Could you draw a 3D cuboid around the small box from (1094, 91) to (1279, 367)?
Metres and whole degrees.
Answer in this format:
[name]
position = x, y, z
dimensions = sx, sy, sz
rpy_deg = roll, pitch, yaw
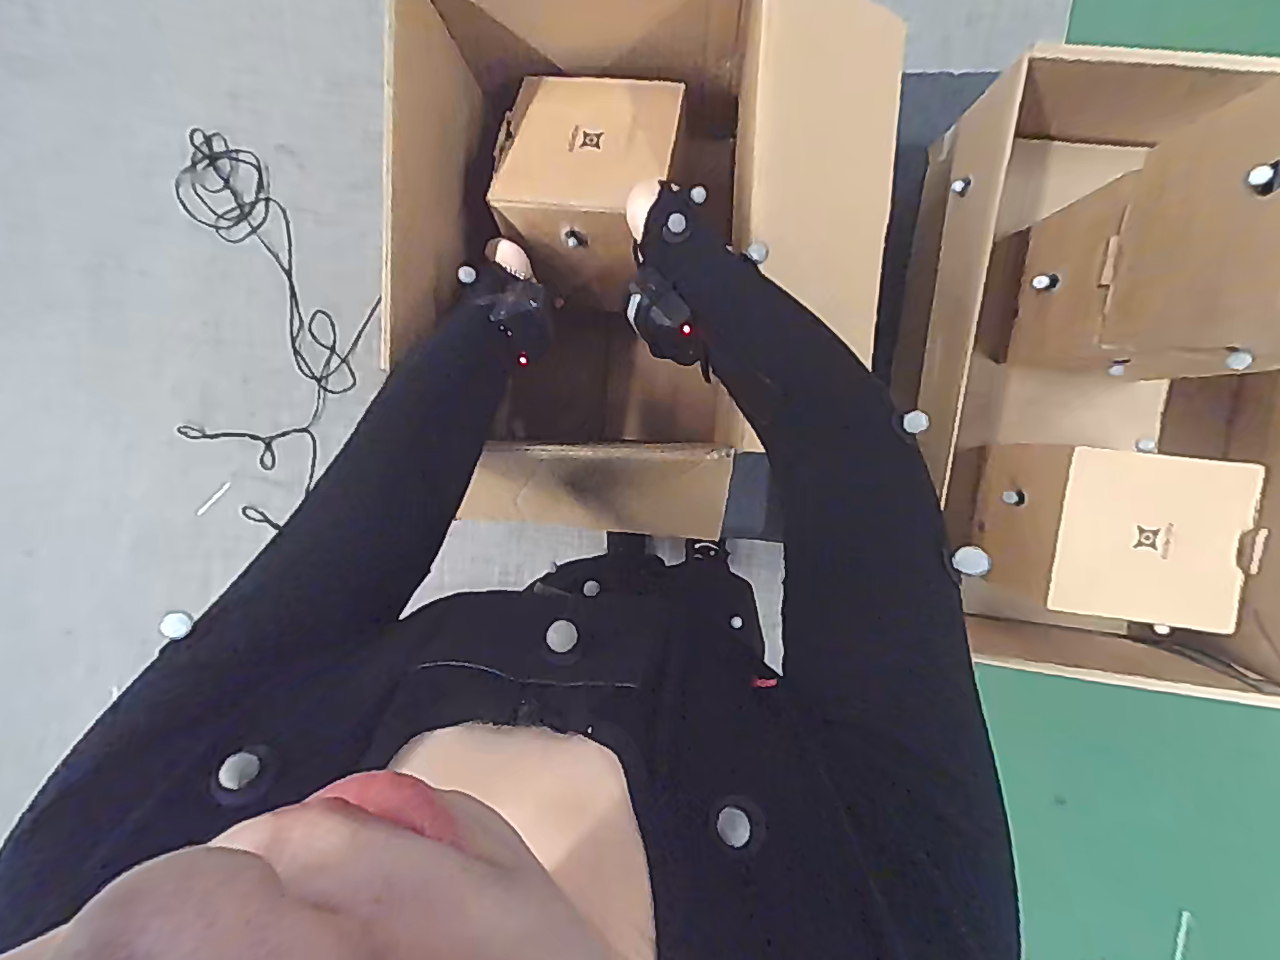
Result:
[small box]
position = 0.517, -0.194, 0.429
dimensions = 0.168, 0.176, 0.179
rpy_deg = 8, 98, 3
